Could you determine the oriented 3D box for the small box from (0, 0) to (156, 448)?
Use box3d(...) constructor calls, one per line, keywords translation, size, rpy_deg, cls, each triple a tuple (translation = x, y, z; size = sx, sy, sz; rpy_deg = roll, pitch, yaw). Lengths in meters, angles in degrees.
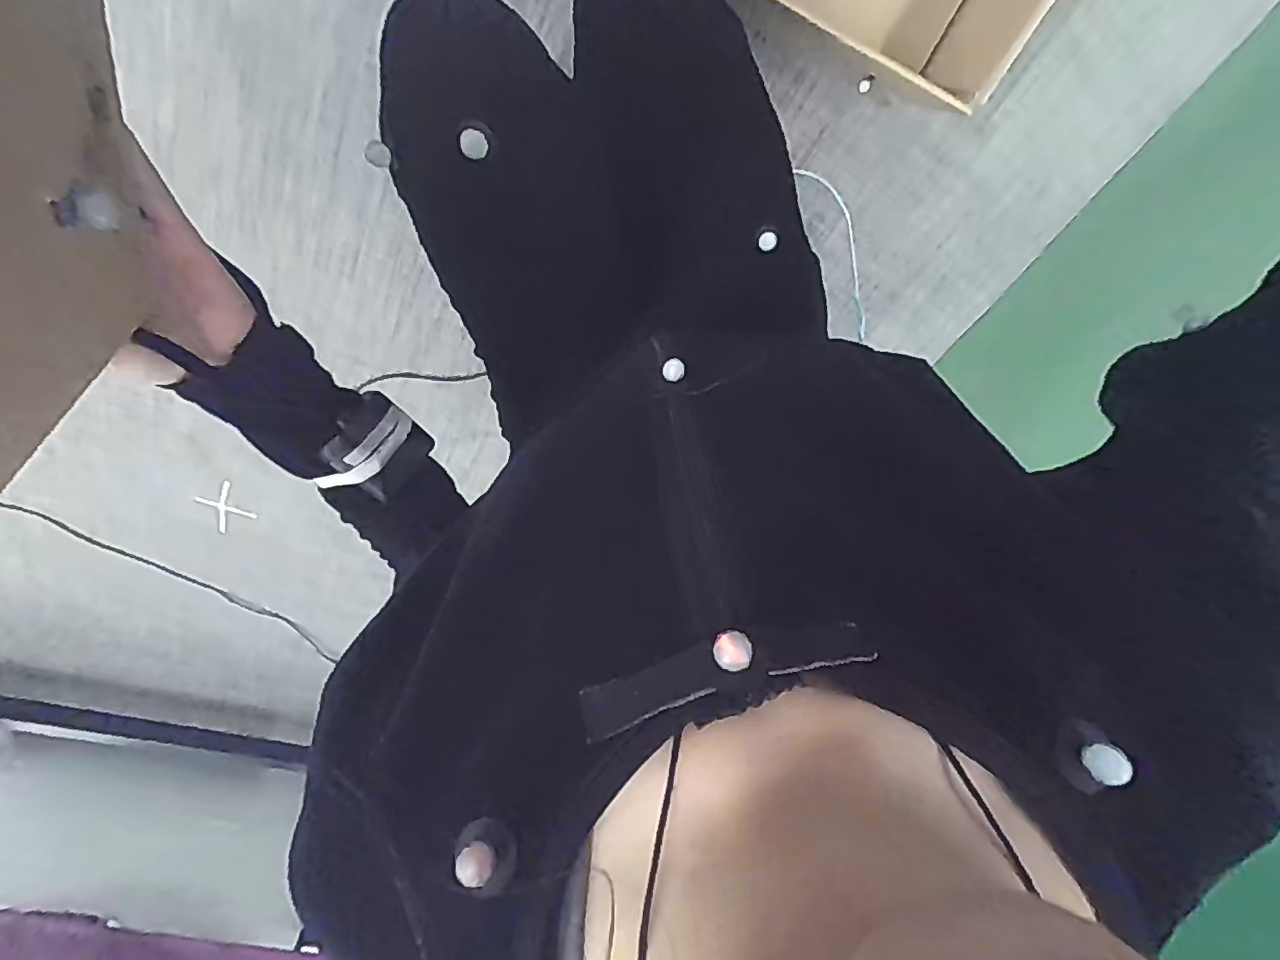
box3d(translation=(-0.291, -0.104, 0.155), size=(0.179, 0.176, 0.168), rpy_deg=(10, 134, -25), cls="small box")
